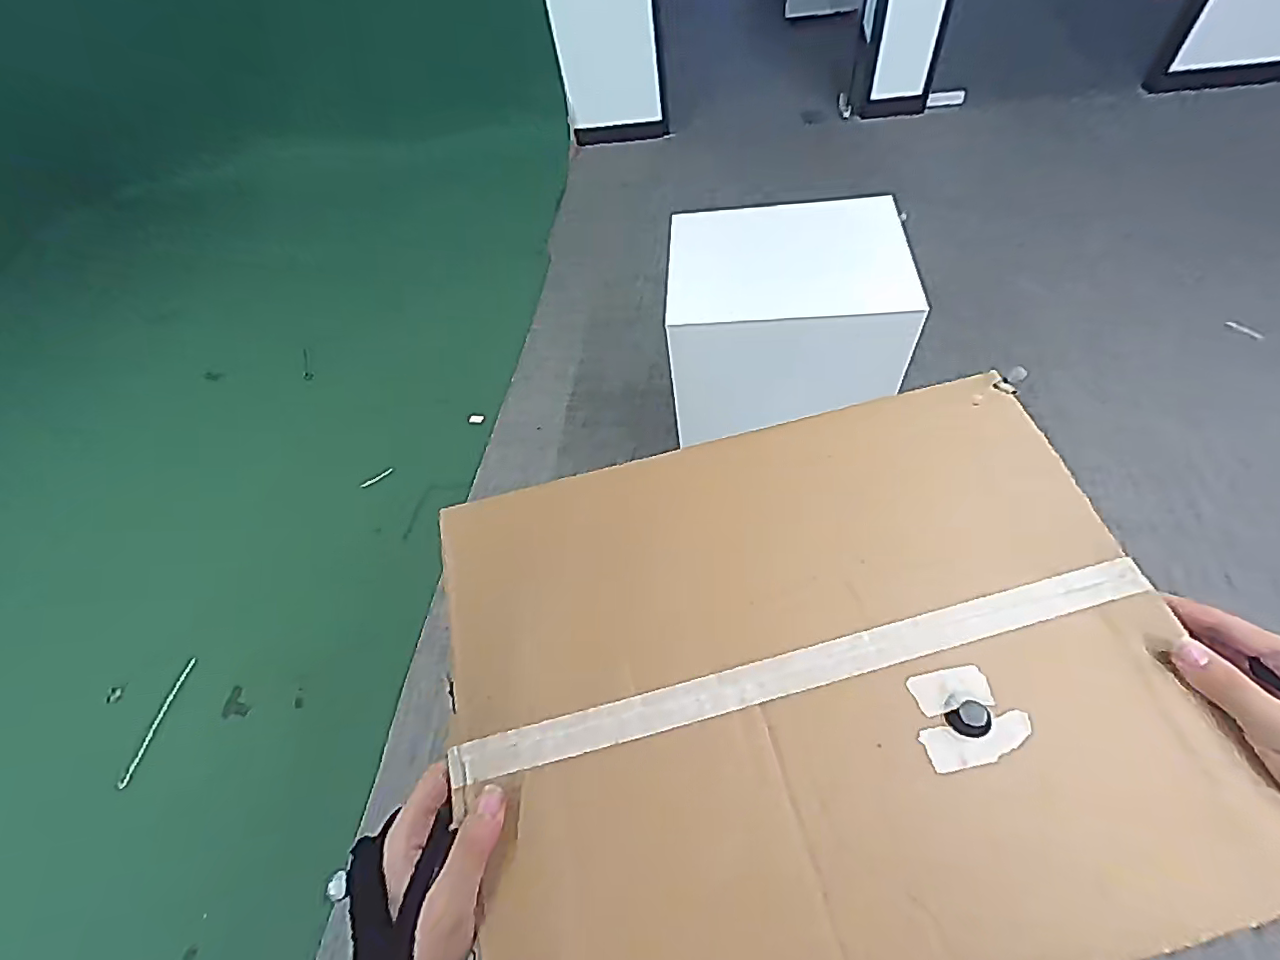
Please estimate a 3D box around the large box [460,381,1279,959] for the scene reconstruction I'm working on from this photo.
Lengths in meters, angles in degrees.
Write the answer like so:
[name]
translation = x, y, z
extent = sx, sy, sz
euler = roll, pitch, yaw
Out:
[large box]
translation = 0.107, 0.171, 0.456
extent = 0.408, 0.320, 0.320
euler = -14, 64, -4
